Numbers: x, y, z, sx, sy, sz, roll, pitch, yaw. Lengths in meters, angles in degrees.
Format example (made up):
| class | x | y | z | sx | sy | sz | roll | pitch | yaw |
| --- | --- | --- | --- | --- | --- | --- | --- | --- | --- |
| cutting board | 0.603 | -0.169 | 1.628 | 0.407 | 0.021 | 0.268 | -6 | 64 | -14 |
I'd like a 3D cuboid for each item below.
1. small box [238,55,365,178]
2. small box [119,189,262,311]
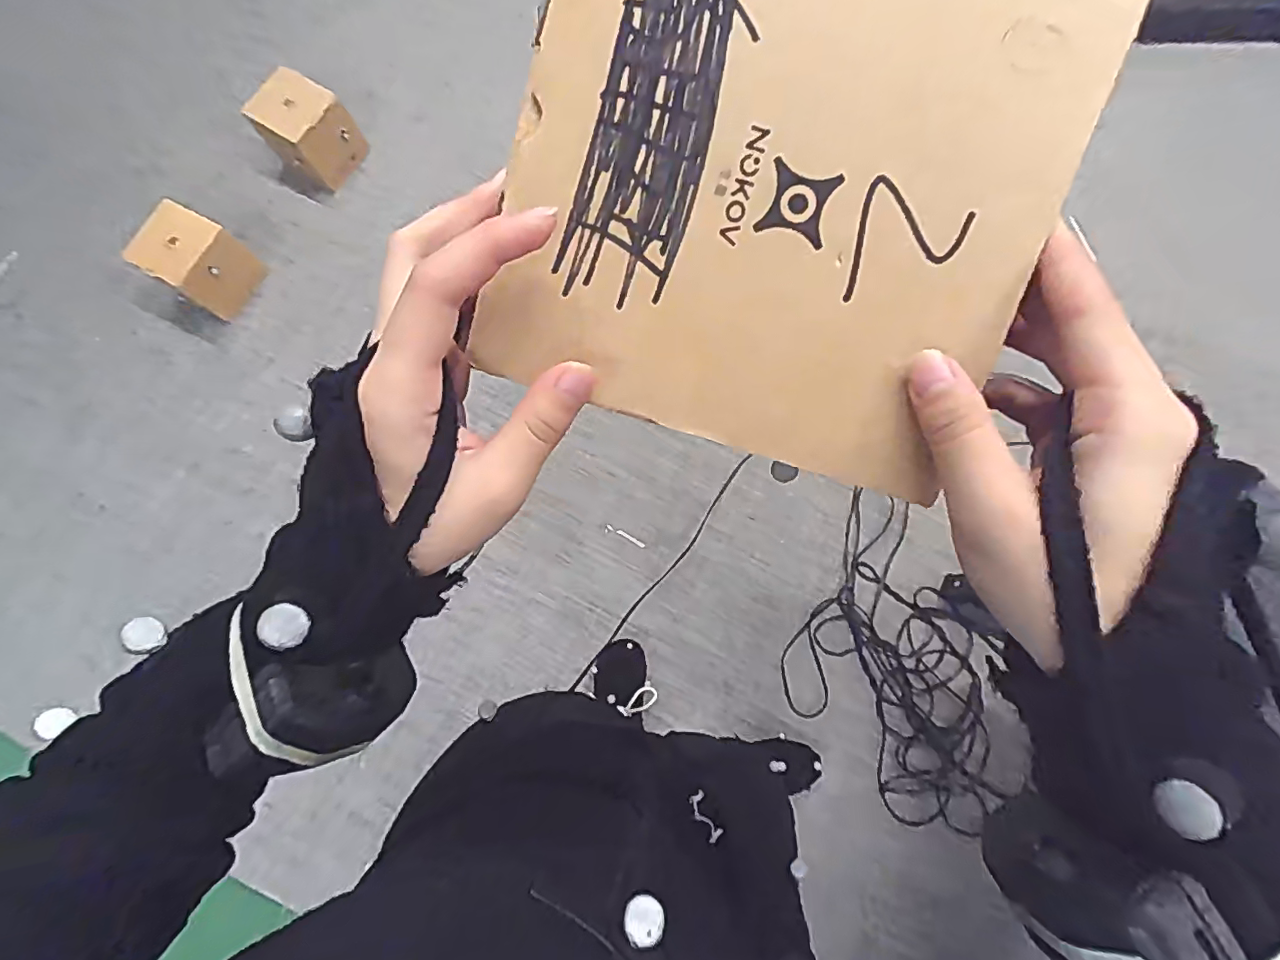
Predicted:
| class | x | y | z | sx | sy | sz | roll | pitch | yaw |
| --- | --- | --- | --- | --- | --- | --- | --- | --- | --- |
| small box | -0.846 | -0.910 | 1.373 | 0.179 | 0.176 | 0.168 | 31 | 79 | 7 |
| small box | -1.065 | -0.545 | 1.302 | 0.168 | 0.176 | 0.179 | 27 | 81 | 5 |
